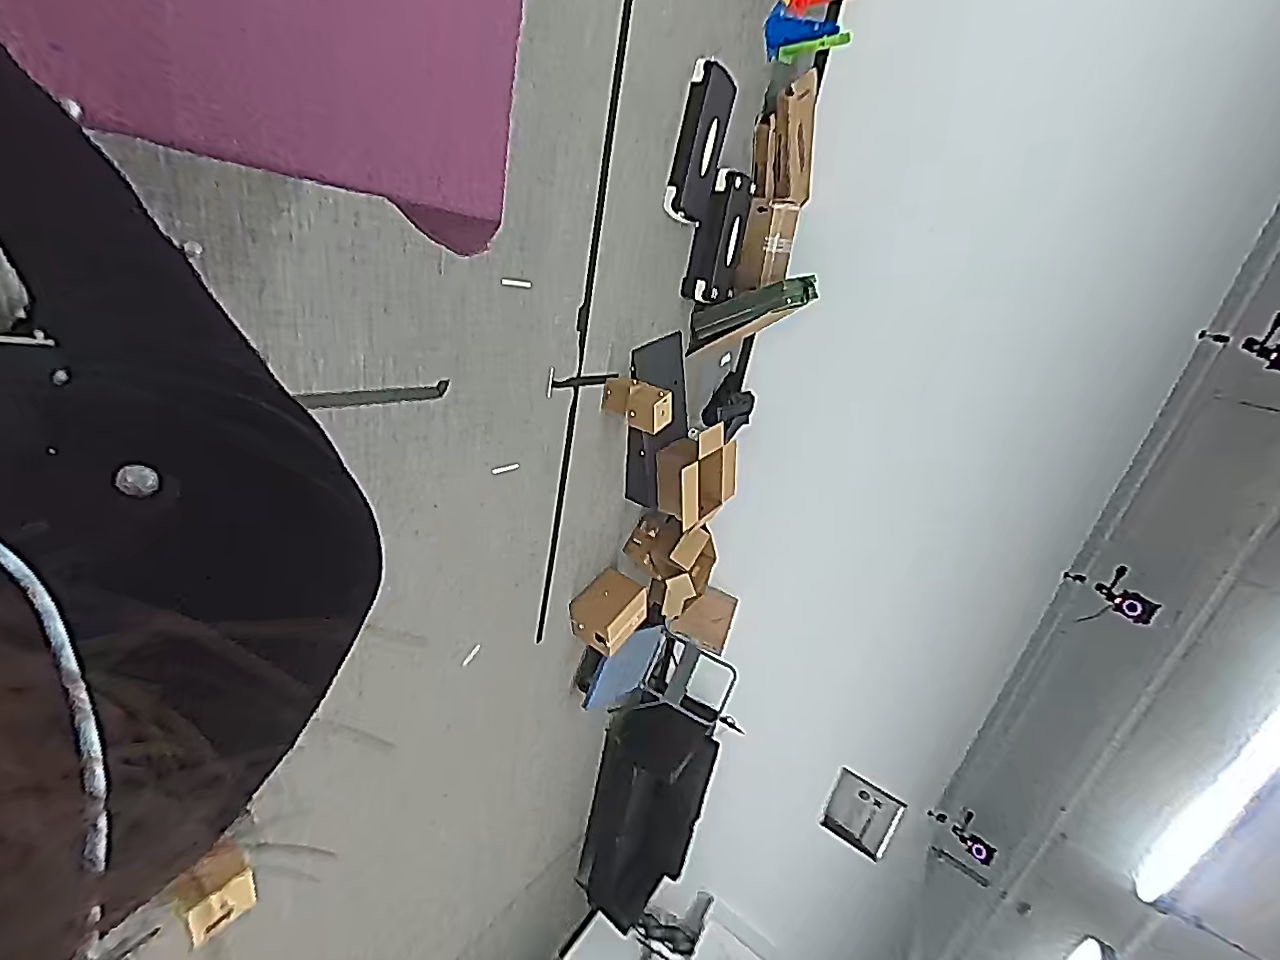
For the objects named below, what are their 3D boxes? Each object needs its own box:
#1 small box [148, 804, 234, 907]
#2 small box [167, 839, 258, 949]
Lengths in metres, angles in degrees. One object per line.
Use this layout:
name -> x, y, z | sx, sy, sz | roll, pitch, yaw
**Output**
small box -> -1.446, 1.206, 1.744 | 0.179, 0.176, 0.168 | -24, 131, -54
small box -> -1.315, 1.266, 1.666 | 0.168, 0.176, 0.179 | -24, 130, -54
